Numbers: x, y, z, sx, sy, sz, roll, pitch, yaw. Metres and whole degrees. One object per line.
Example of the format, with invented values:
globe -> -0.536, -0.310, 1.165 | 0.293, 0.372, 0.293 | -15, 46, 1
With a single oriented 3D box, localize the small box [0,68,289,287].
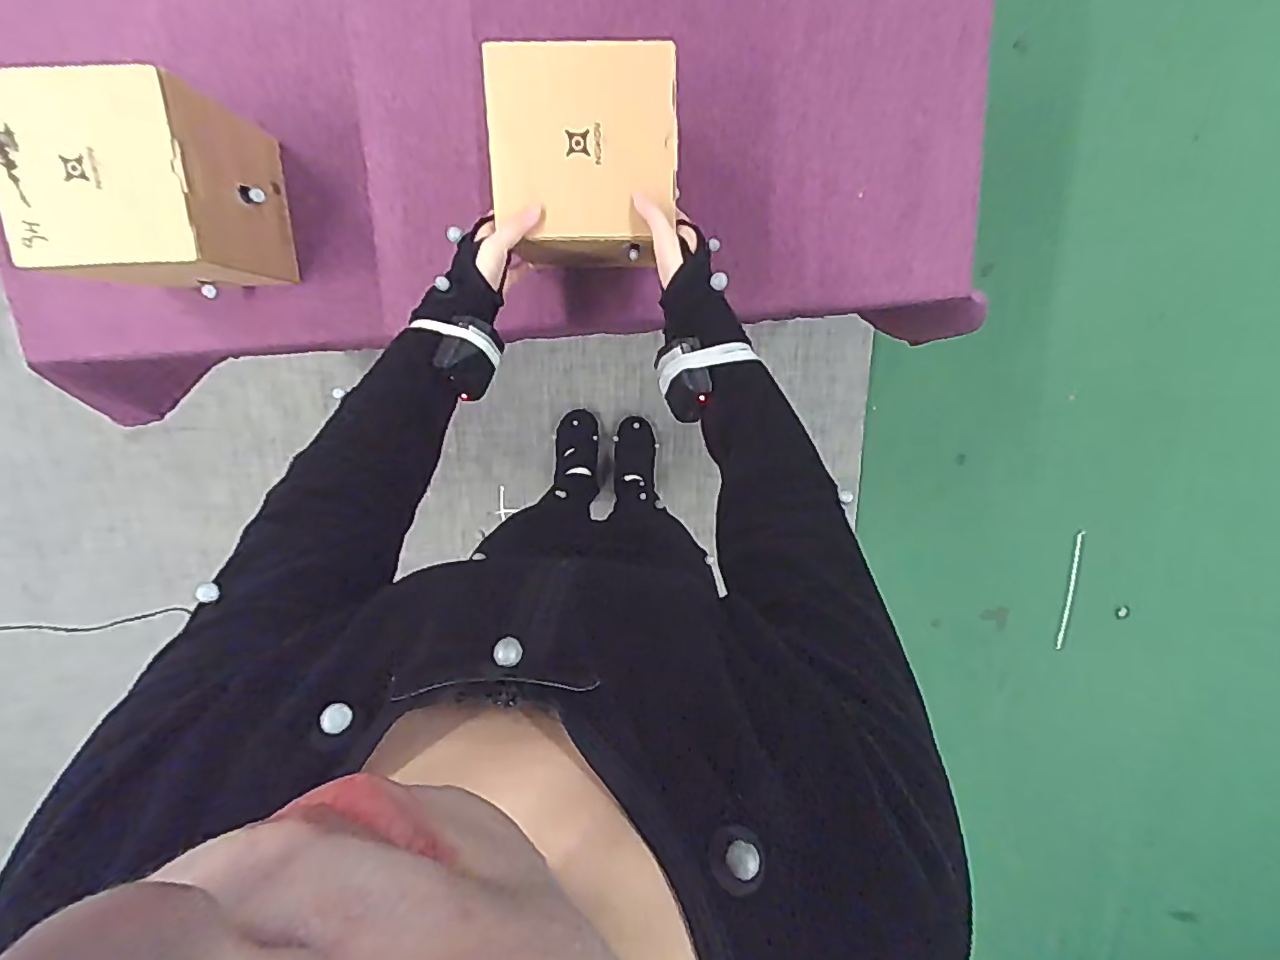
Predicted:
small box -> -0.509, -0.304, 0.577 | 0.179, 0.176, 0.168 | -2, 102, -1

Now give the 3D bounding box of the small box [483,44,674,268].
small box -> -0.057, -0.328, 0.581 | 0.179, 0.176, 0.168 | -1, 103, -1
